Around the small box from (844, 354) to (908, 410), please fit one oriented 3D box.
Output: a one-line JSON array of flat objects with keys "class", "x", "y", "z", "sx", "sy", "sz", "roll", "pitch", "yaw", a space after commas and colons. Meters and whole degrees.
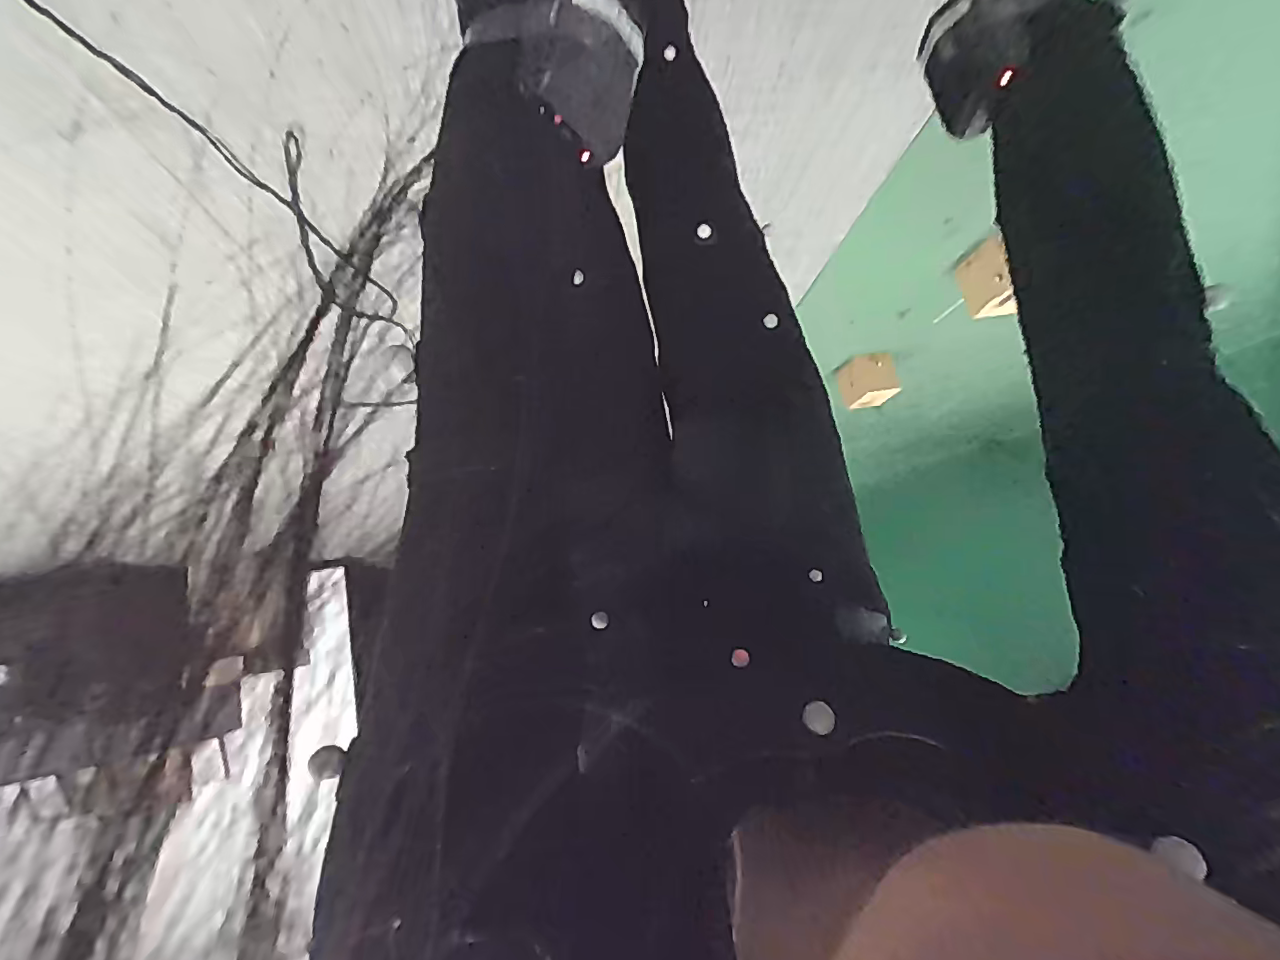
[{"class": "small box", "x": 0.980, "y": -0.411, "z": 2.263, "sx": 0.168, "sy": 0.176, "sz": 0.179, "roll": -10, "pitch": 167, "yaw": -9}]
